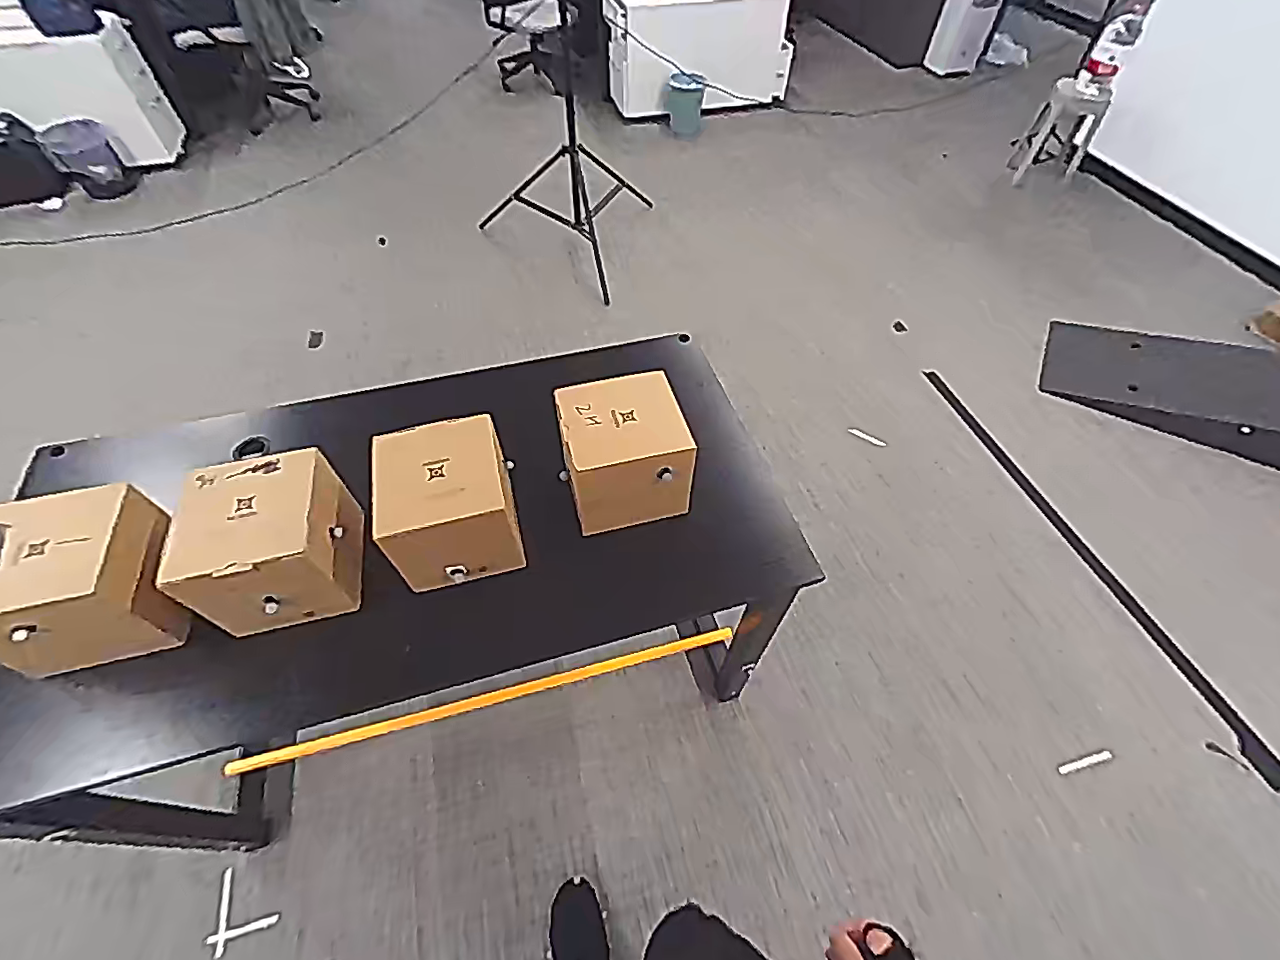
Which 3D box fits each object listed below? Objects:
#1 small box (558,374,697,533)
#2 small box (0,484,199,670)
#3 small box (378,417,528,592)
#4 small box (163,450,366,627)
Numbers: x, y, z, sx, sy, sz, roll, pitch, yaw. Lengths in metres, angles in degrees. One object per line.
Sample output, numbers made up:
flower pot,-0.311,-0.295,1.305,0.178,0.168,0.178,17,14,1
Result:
small box,-0.024,-0.039,0.854,0.179,0.176,0.168,-12,55,-9
small box,-0.724,0.132,0.715,0.179,0.176,0.168,-12,55,-11
small box,-0.271,0.038,0.797,0.168,0.176,0.179,-14,56,-10
small box,-0.499,0.089,0.753,0.168,0.176,0.179,-12,55,-9
